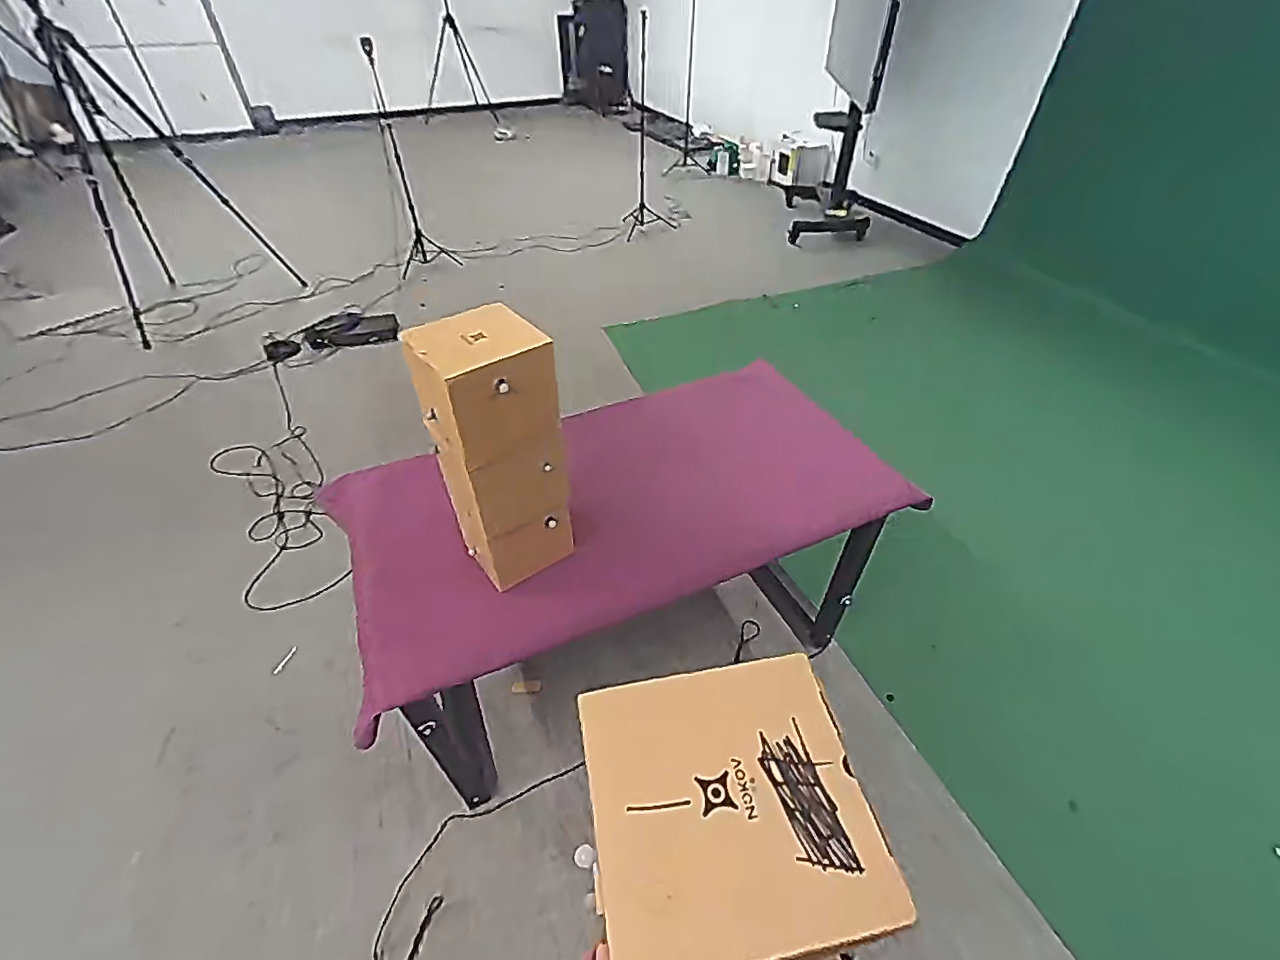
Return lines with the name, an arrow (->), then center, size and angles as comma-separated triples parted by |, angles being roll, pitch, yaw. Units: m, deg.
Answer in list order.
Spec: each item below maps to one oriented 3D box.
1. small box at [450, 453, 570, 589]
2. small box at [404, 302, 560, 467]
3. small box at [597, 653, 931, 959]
small box -> -0.253, 0.082, 1.085 | 0.179, 0.176, 0.168 | -28, 50, -27
small box -> -0.240, -0.153, 0.857 | 0.179, 0.176, 0.168 | -29, 52, -28
small box -> 0.063, 0.253, 0.401 | 0.179, 0.176, 0.168 | -6, 45, -9
